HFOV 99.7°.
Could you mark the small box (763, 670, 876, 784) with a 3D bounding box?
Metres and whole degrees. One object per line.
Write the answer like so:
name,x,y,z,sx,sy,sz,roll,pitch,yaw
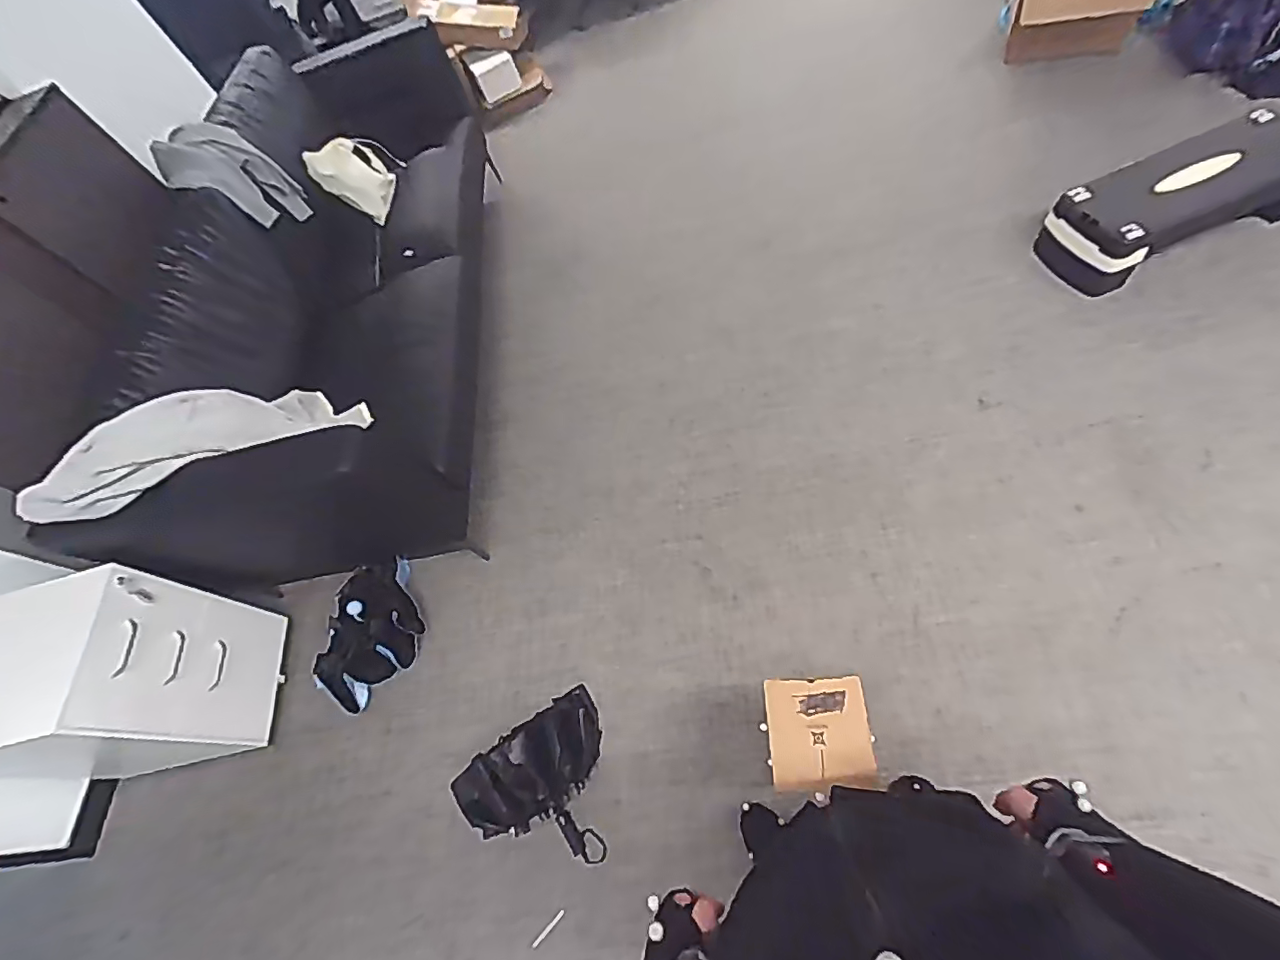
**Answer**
small box,0.315,0.450,0.982,0.168,0.176,0.179,-6,62,12
